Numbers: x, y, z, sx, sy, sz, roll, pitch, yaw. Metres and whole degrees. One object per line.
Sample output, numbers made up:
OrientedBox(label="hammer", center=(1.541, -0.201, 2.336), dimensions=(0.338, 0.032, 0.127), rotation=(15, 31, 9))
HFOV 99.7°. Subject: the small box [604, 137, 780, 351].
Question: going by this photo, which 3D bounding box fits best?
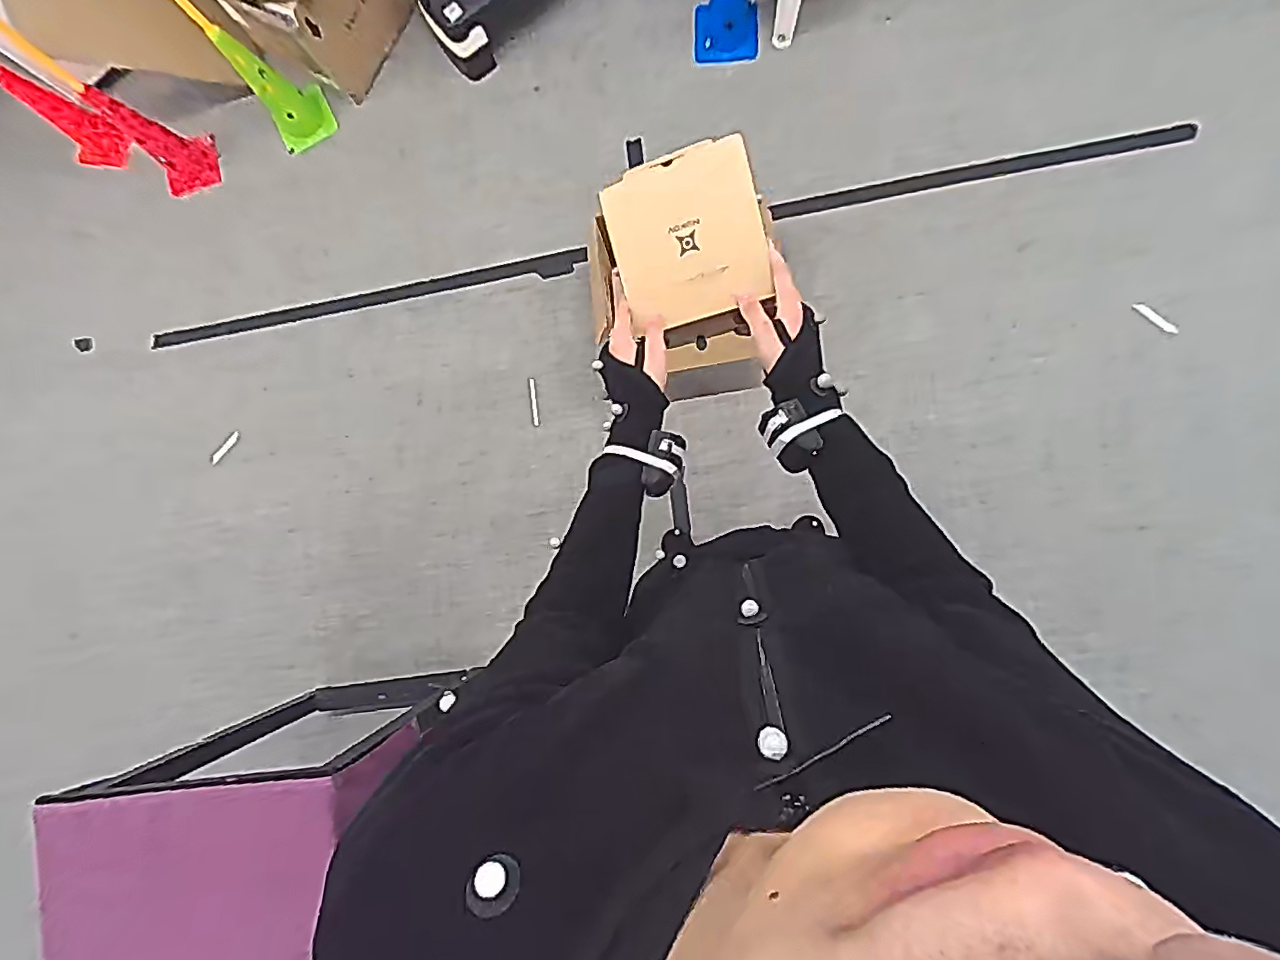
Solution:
OrientedBox(label="small box", center=(0.070, -0.273, 0.671), dimensions=(0.168, 0.176, 0.179), rotation=(-13, 94, 13))
